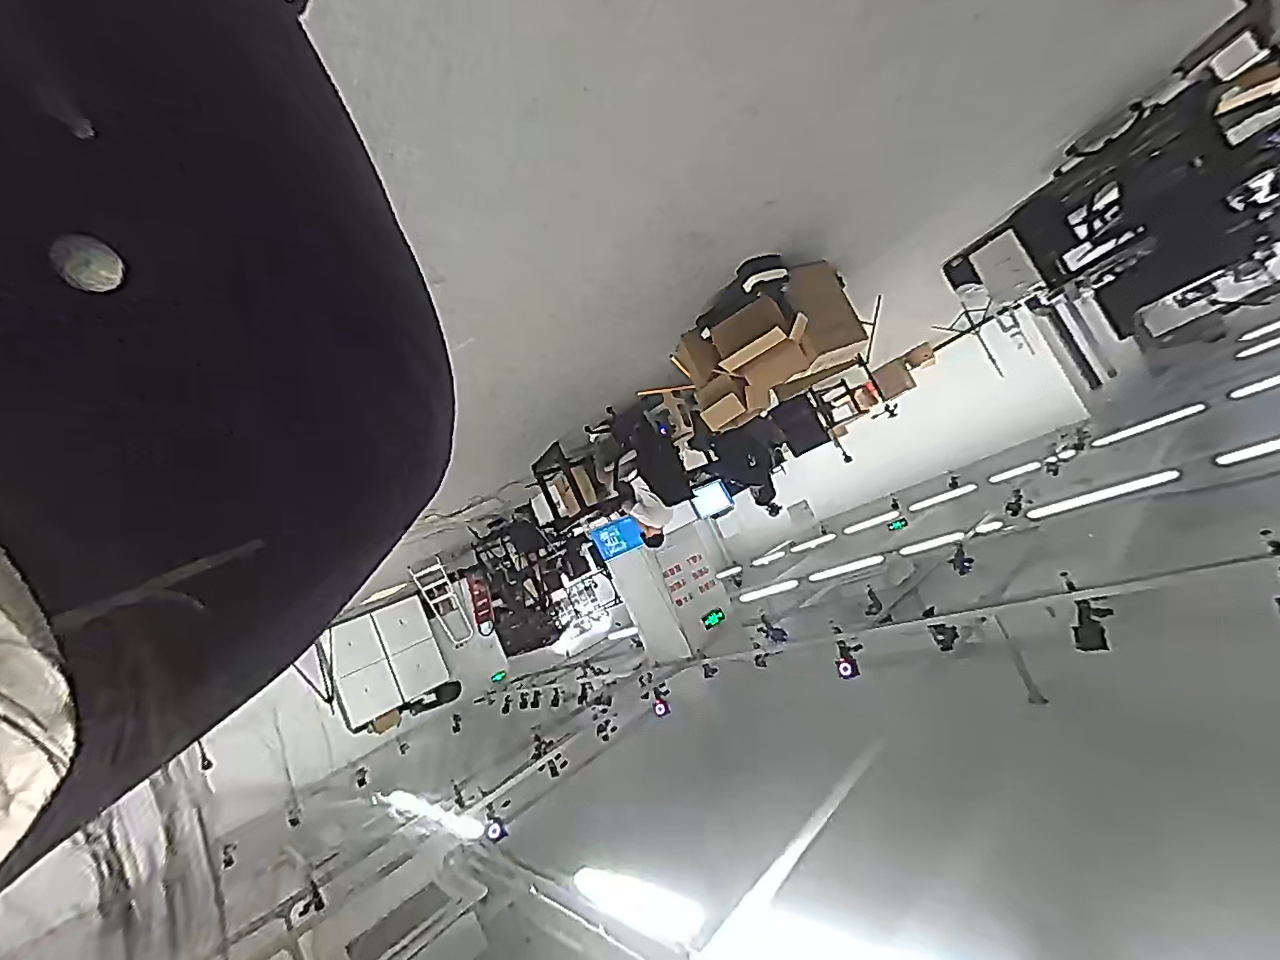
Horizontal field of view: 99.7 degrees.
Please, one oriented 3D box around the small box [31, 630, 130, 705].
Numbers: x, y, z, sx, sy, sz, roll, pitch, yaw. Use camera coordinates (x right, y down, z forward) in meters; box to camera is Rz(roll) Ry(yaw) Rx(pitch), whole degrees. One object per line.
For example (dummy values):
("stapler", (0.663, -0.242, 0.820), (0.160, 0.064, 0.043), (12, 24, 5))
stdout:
("small box", (-1.805, 0.602, 1.750), (0.179, 0.176, 0.168), (-19, 169, -39))
